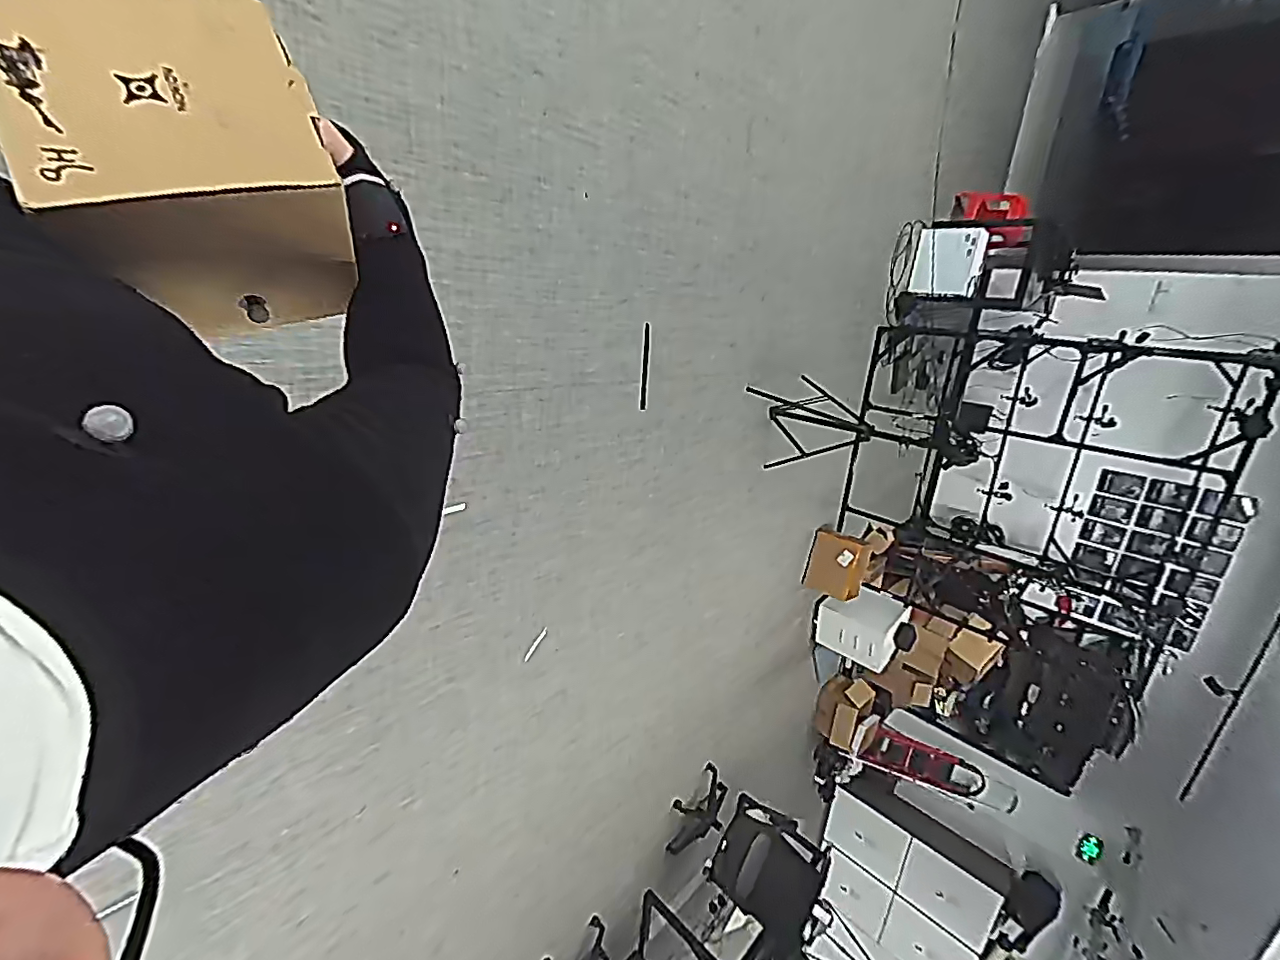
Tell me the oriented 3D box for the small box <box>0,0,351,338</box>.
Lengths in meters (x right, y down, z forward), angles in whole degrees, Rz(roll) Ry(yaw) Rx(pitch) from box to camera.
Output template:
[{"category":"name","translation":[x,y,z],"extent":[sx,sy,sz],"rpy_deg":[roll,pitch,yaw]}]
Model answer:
[{"category":"small box","translation":[-0.356,-0.242,0.447],"extent":[0.179,0.176,0.168],"rpy_deg":[-21,83,-27]}]
